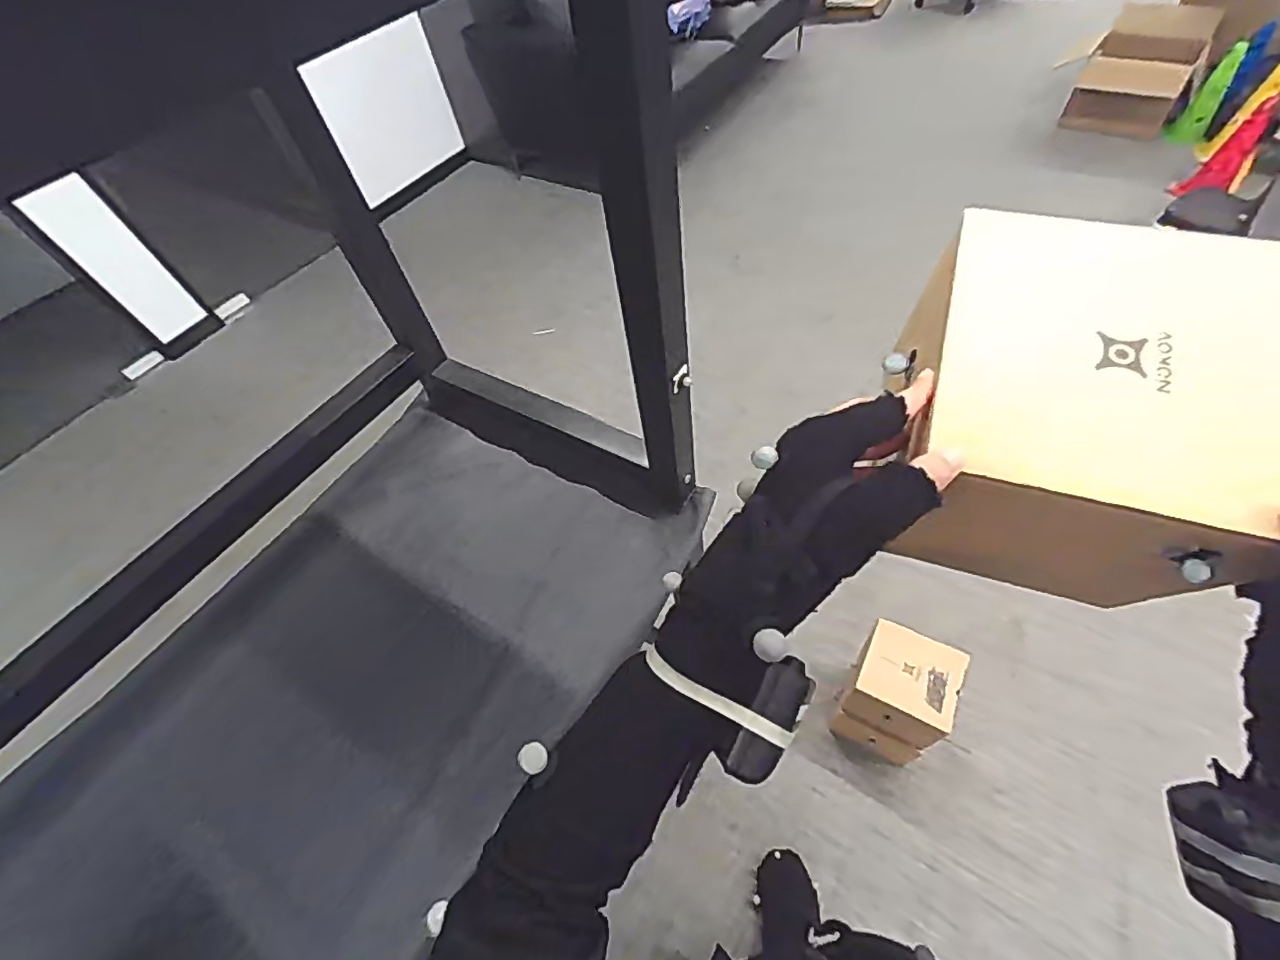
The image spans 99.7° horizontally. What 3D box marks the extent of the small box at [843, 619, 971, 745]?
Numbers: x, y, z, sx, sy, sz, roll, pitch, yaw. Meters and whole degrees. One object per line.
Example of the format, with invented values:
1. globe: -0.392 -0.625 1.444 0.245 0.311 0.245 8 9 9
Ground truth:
1. small box: 0.542 0.422 1.114 0.179 0.176 0.168 22 61 24
